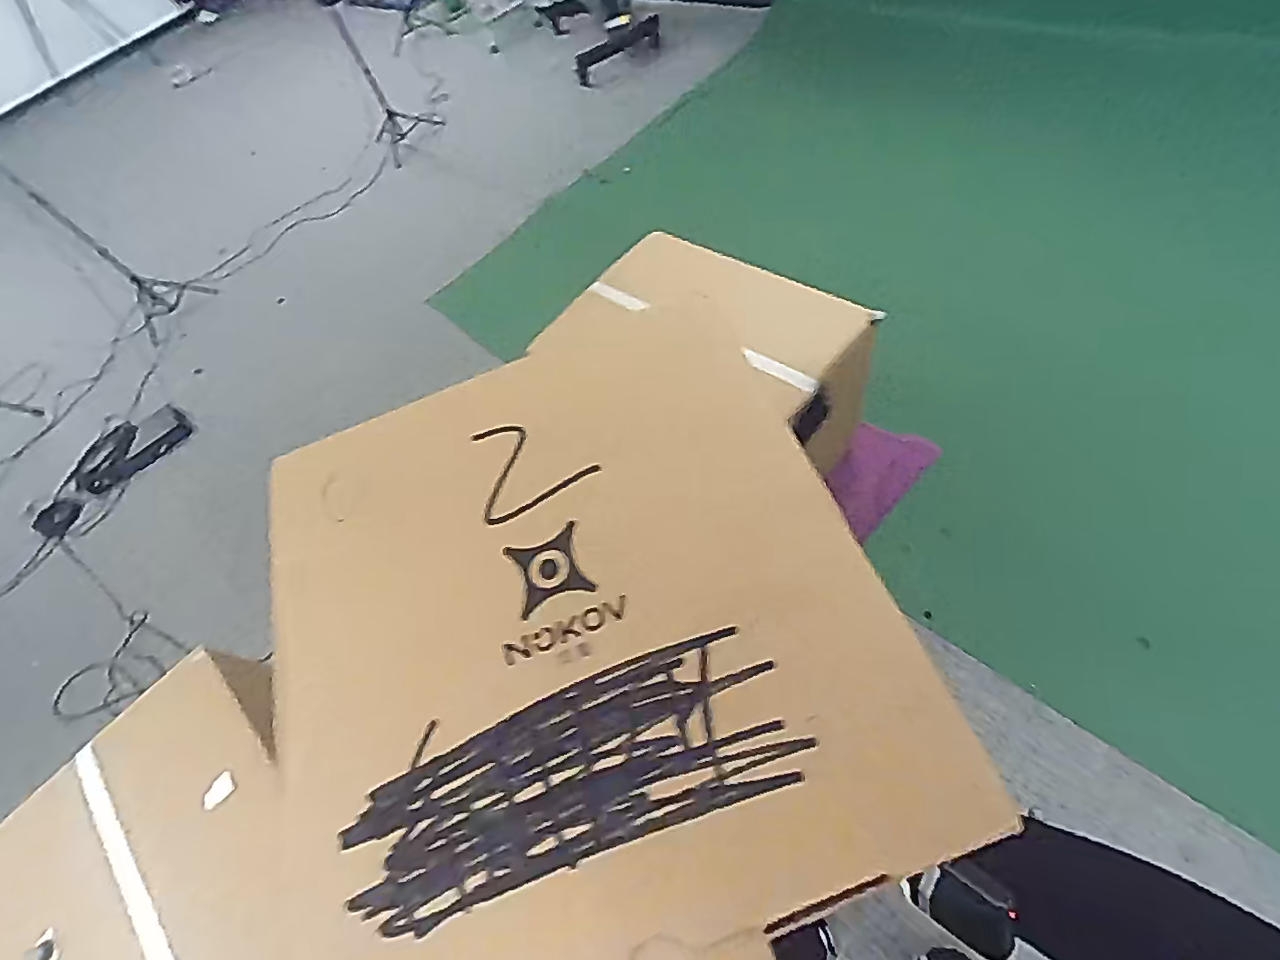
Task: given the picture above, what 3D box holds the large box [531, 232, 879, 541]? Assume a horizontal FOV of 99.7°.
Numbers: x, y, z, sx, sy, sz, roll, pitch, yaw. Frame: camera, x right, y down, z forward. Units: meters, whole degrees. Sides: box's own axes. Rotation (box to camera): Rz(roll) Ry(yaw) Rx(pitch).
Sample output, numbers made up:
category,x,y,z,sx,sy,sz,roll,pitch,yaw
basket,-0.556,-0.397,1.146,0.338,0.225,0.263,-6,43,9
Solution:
category,x,y,z,sx,sy,sz,roll,pitch,yaw
large box,0.102,-0.136,0.893,0.408,0.320,0.320,34,73,27
